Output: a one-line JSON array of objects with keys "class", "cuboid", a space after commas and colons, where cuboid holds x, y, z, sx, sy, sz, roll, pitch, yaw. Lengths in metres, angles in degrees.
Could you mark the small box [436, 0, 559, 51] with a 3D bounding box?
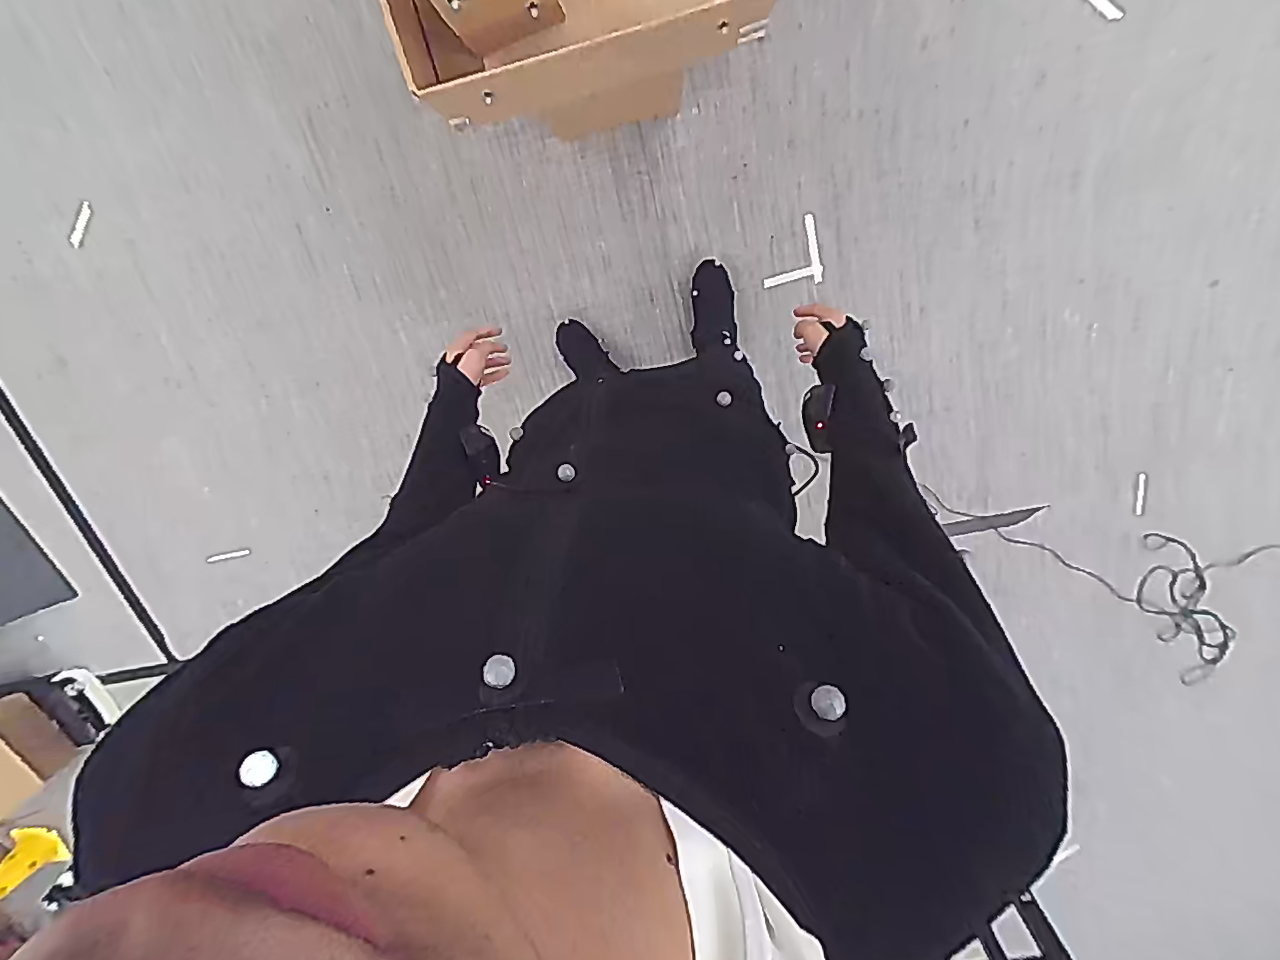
[{"class": "small box", "cuboid": [-0.238, -0.826, 0.848, 0.179, 0.176, 0.168, -16, 109, 9]}]
